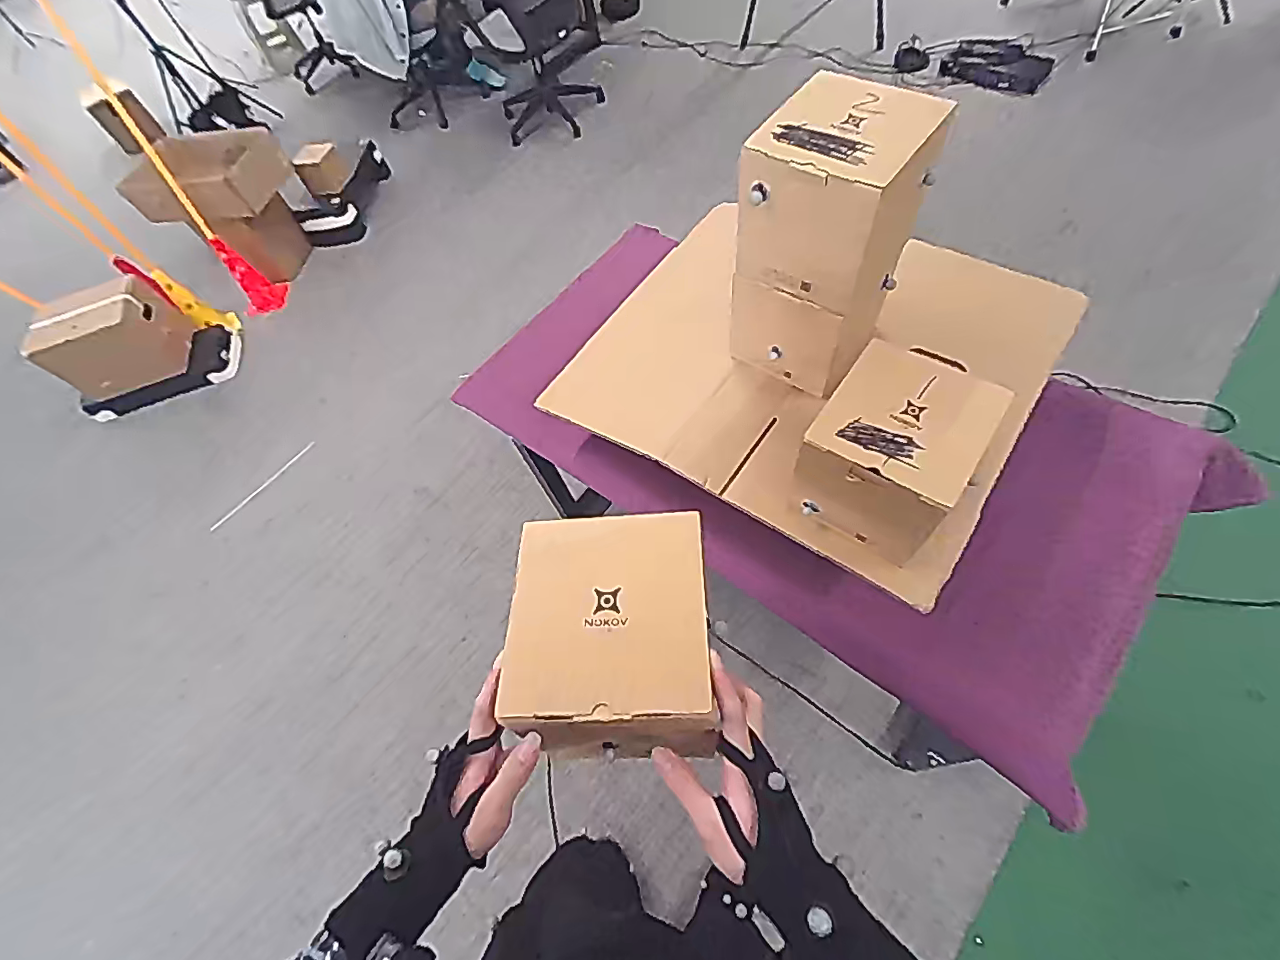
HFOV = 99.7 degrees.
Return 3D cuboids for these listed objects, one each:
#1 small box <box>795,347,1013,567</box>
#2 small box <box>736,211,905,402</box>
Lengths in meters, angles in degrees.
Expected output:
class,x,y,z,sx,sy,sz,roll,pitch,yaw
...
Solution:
class,x,y,z,sx,sy,sz,roll,pitch,yaw
small box,0.305,-0.022,0.662,0.168,0.176,0.179,31,68,23
small box,0.251,-0.252,0.799,0.168,0.176,0.179,32,70,22
